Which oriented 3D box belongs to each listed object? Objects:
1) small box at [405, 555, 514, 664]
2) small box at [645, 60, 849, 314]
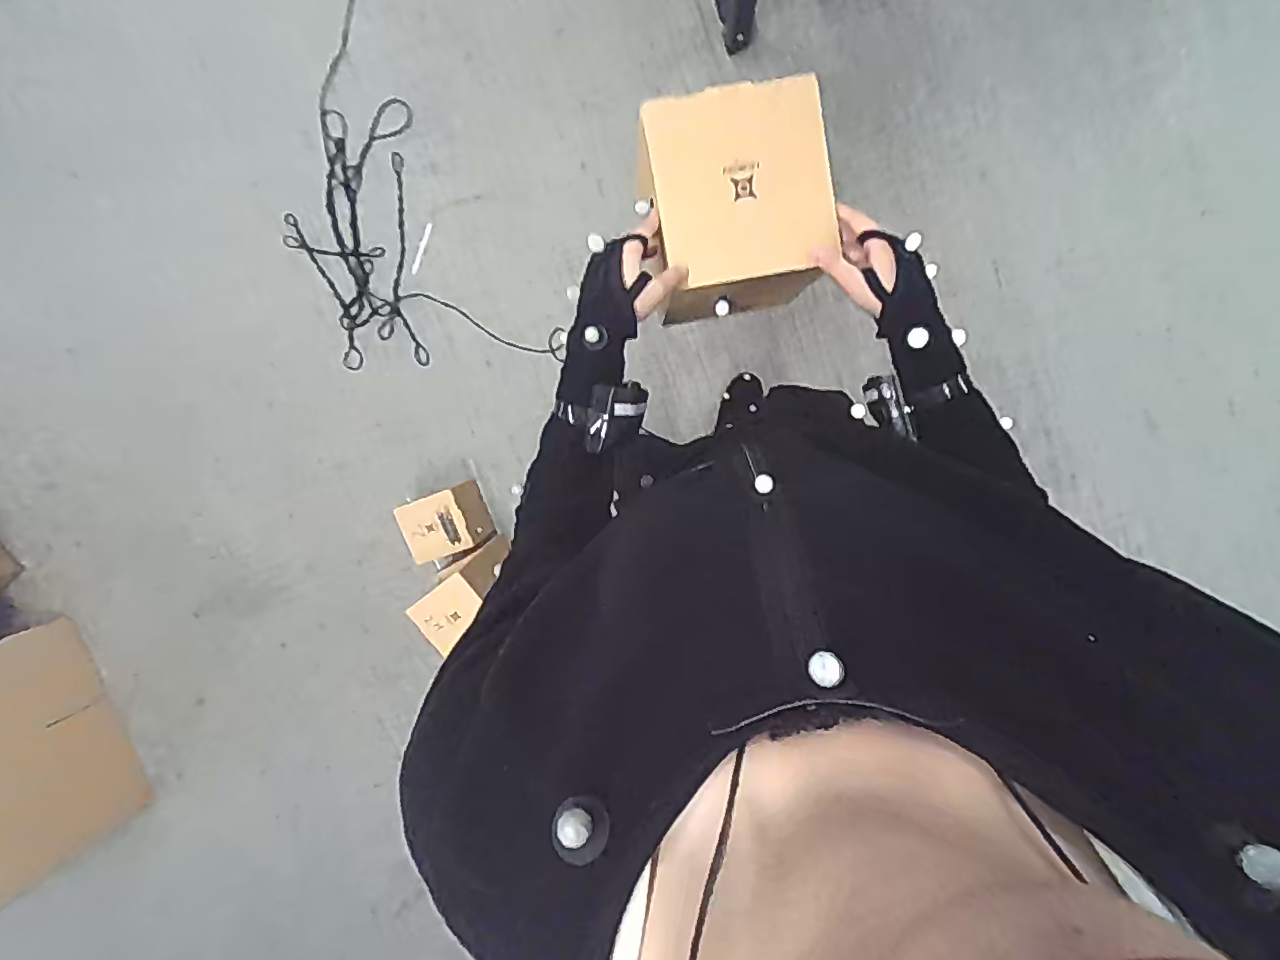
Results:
[{"bbox_3d":[-0.434,0.313,1.344,0.179,0.176,0.168,-36,96,10],"label":"small box"},{"bbox_3d":[0.099,-0.285,0.570,0.168,0.176,0.179,-10,93,0],"label":"small box"}]
